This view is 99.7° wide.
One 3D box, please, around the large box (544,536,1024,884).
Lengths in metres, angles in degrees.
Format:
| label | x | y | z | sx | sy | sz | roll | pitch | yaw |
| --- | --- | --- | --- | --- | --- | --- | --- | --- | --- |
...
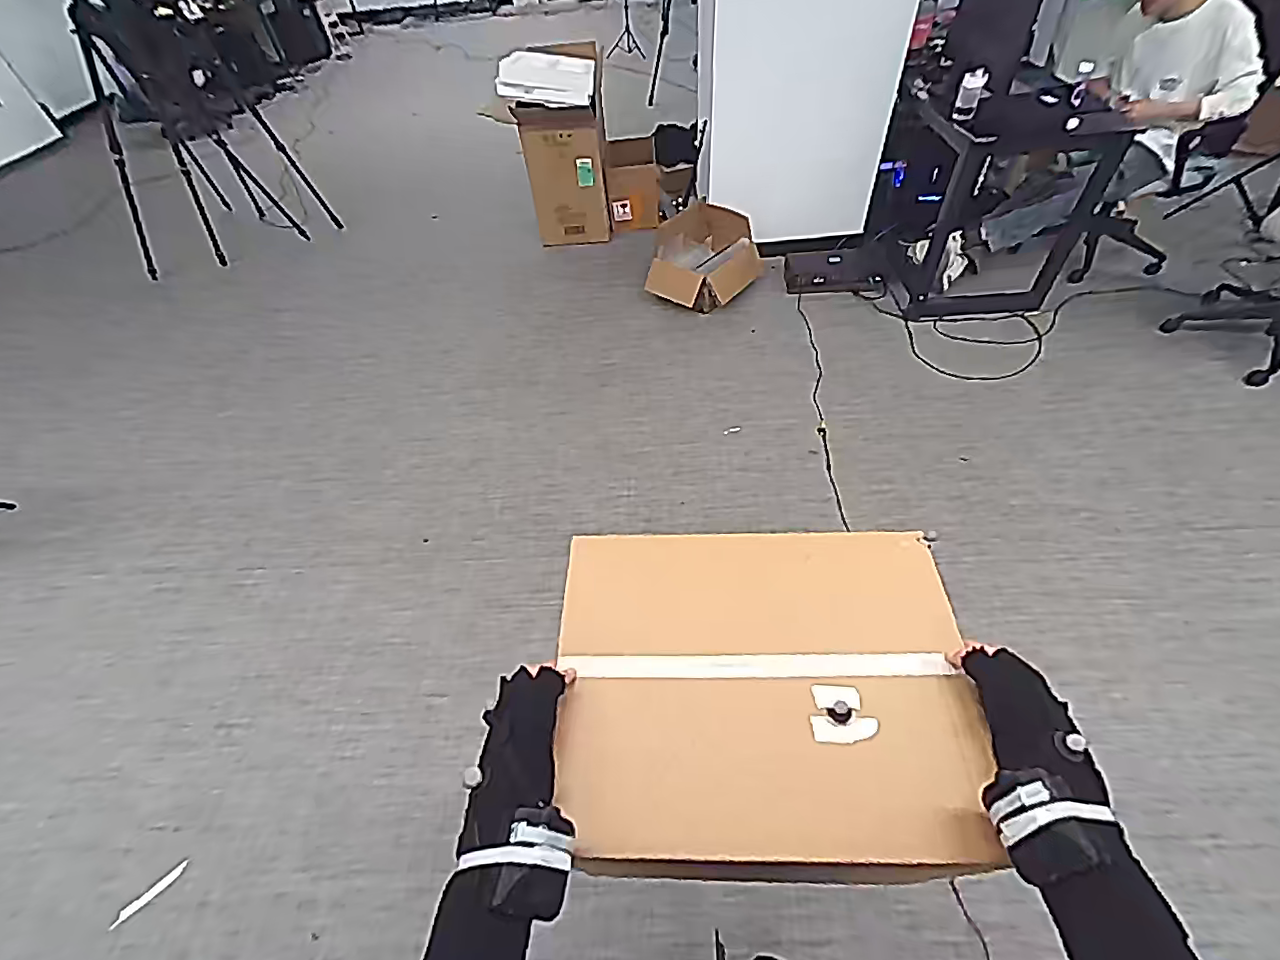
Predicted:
| label | x | y | z | sx | sy | sz | roll | pitch | yaw |
| --- | --- | --- | --- | --- | --- | --- | --- | --- | --- |
| large box | 0.122 | 0.284 | 0.652 | 0.408 | 0.320 | 0.320 | -1 | 51 | 3 |
